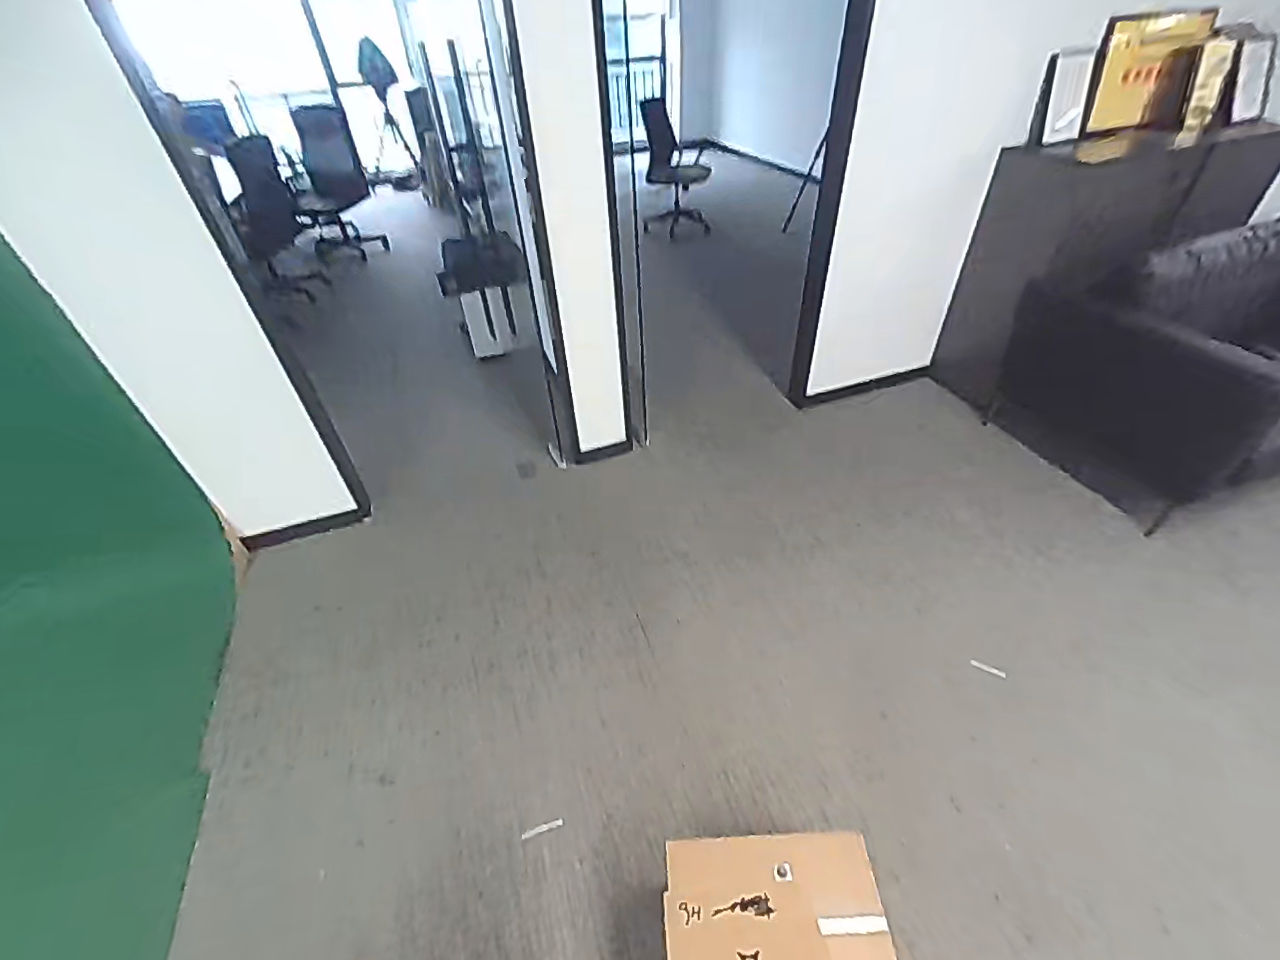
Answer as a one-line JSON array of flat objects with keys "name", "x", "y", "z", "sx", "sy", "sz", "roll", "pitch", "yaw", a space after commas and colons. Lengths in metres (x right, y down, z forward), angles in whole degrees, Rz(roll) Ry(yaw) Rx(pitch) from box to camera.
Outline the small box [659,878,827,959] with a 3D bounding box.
[{"name": "small box", "x": 0.107, "y": 0.554, "z": 0.551, "sx": 0.168, "sy": 0.176, "sz": 0.179, "roll": -2, "pitch": 17, "yaw": 0}]
